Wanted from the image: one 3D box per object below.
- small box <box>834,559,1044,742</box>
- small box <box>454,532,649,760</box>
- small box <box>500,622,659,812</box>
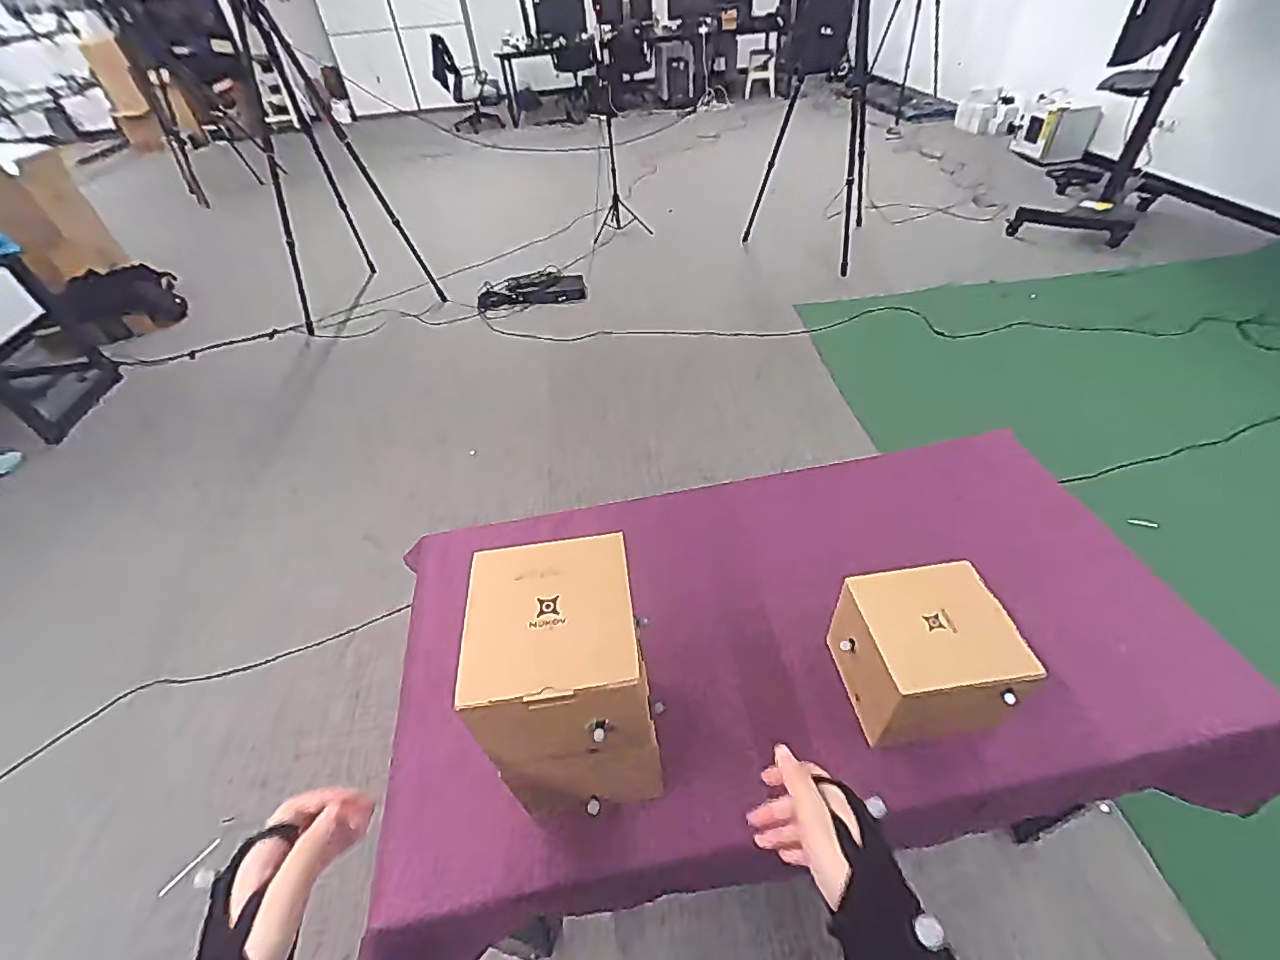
[{"bbox_3d":[0.374,0.231,0.723,0.179,0.176,0.168,-7,44,-2],"label":"small box"},{"bbox_3d":[-0.084,0.184,0.587,0.168,0.176,0.179,-7,44,-1],"label":"small box"},{"bbox_3d":[-0.071,0.305,0.698,0.179,0.176,0.168,-8,44,-3],"label":"small box"}]
